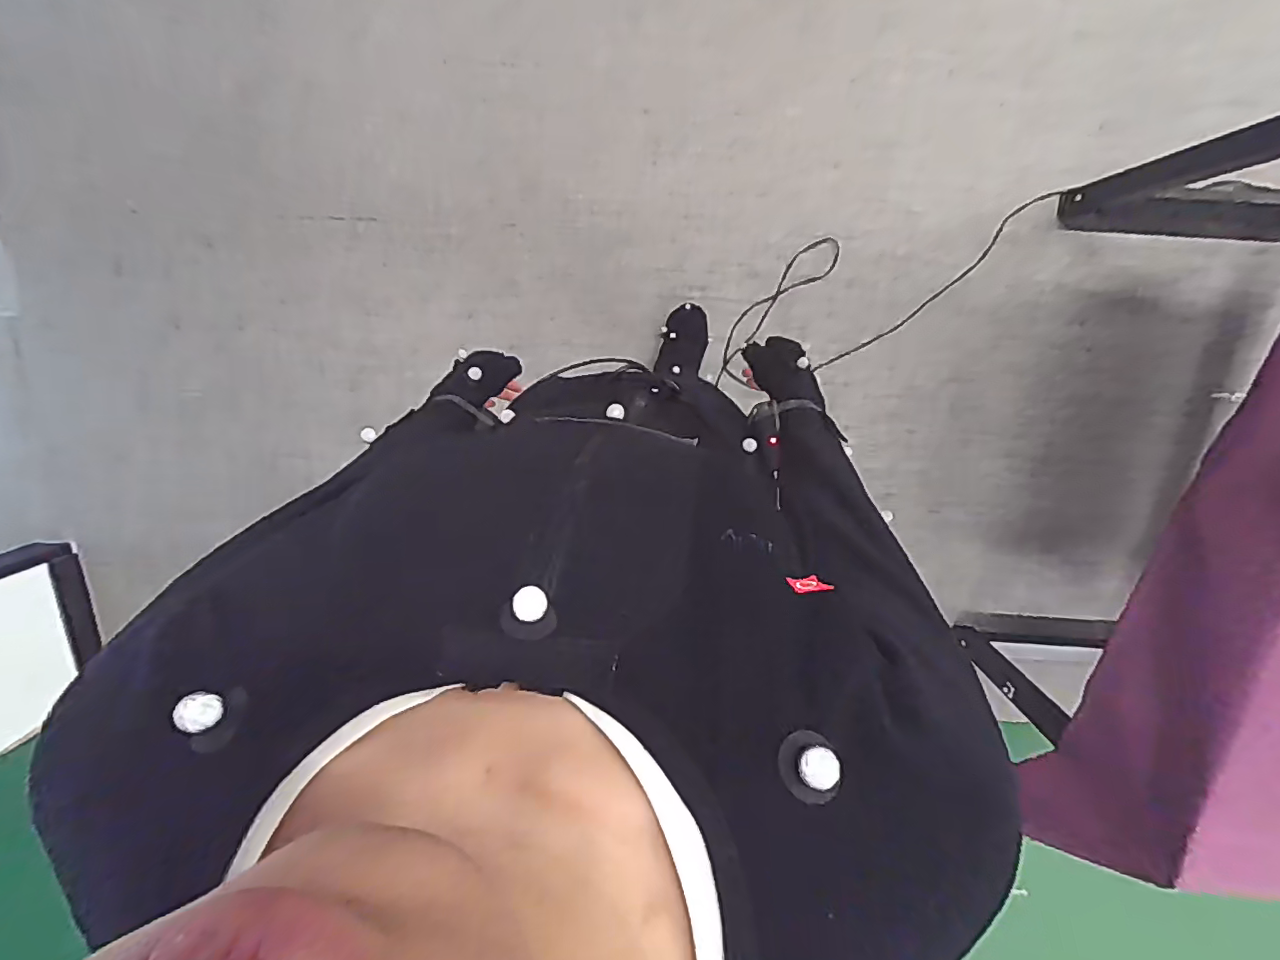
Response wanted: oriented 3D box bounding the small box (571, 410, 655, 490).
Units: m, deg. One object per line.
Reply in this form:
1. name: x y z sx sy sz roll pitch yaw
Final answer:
1. small box: -0.071 -0.077 1.413 0.179 0.176 0.168 18 93 7
